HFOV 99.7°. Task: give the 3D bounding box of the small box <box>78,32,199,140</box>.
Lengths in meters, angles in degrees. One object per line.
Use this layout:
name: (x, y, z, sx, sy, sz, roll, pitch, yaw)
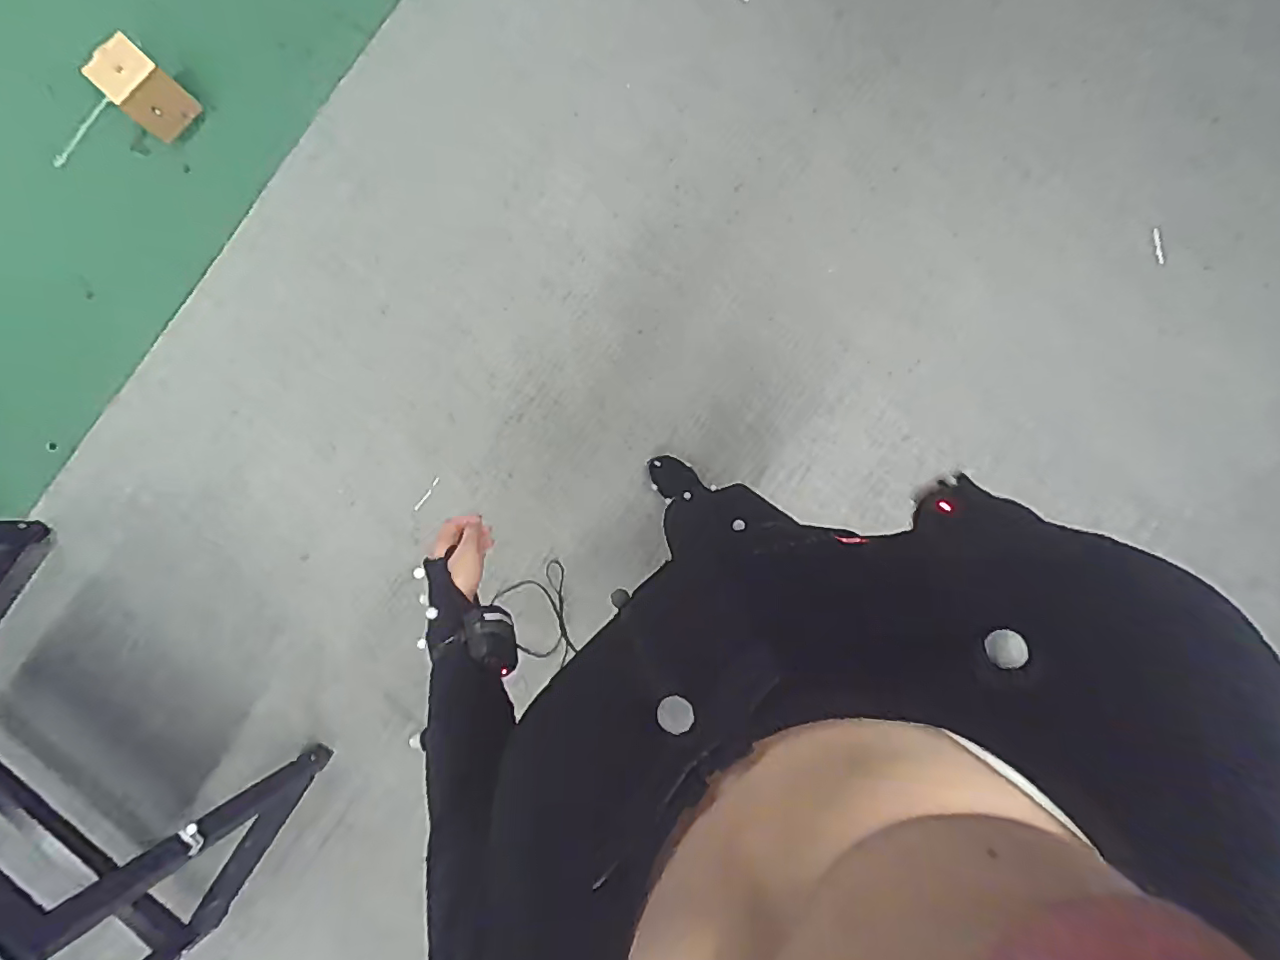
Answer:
small box: (-1.506, -1.178, 1.638, 0.179, 0.176, 0.168, 42, 88, 6)
